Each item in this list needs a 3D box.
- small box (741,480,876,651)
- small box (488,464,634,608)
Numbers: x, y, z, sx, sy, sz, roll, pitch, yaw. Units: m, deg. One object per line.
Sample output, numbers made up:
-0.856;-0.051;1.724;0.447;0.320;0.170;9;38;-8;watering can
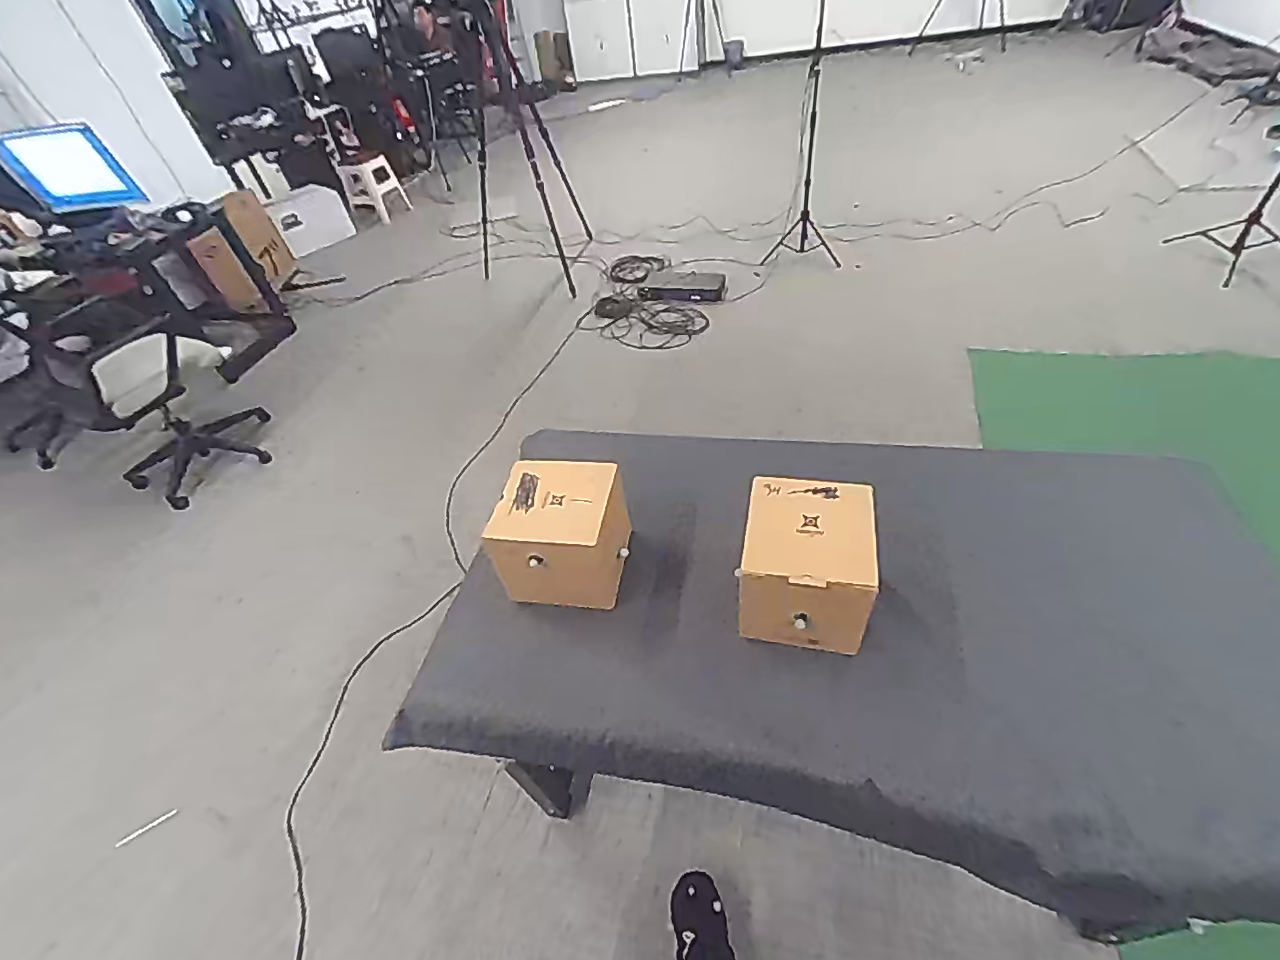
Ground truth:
0.240;0.125;0.782;0.168;0.176;0.179;5;47;15;small box
-0.116;0.091;0.879;0.179;0.176;0.168;2;46;11;small box
